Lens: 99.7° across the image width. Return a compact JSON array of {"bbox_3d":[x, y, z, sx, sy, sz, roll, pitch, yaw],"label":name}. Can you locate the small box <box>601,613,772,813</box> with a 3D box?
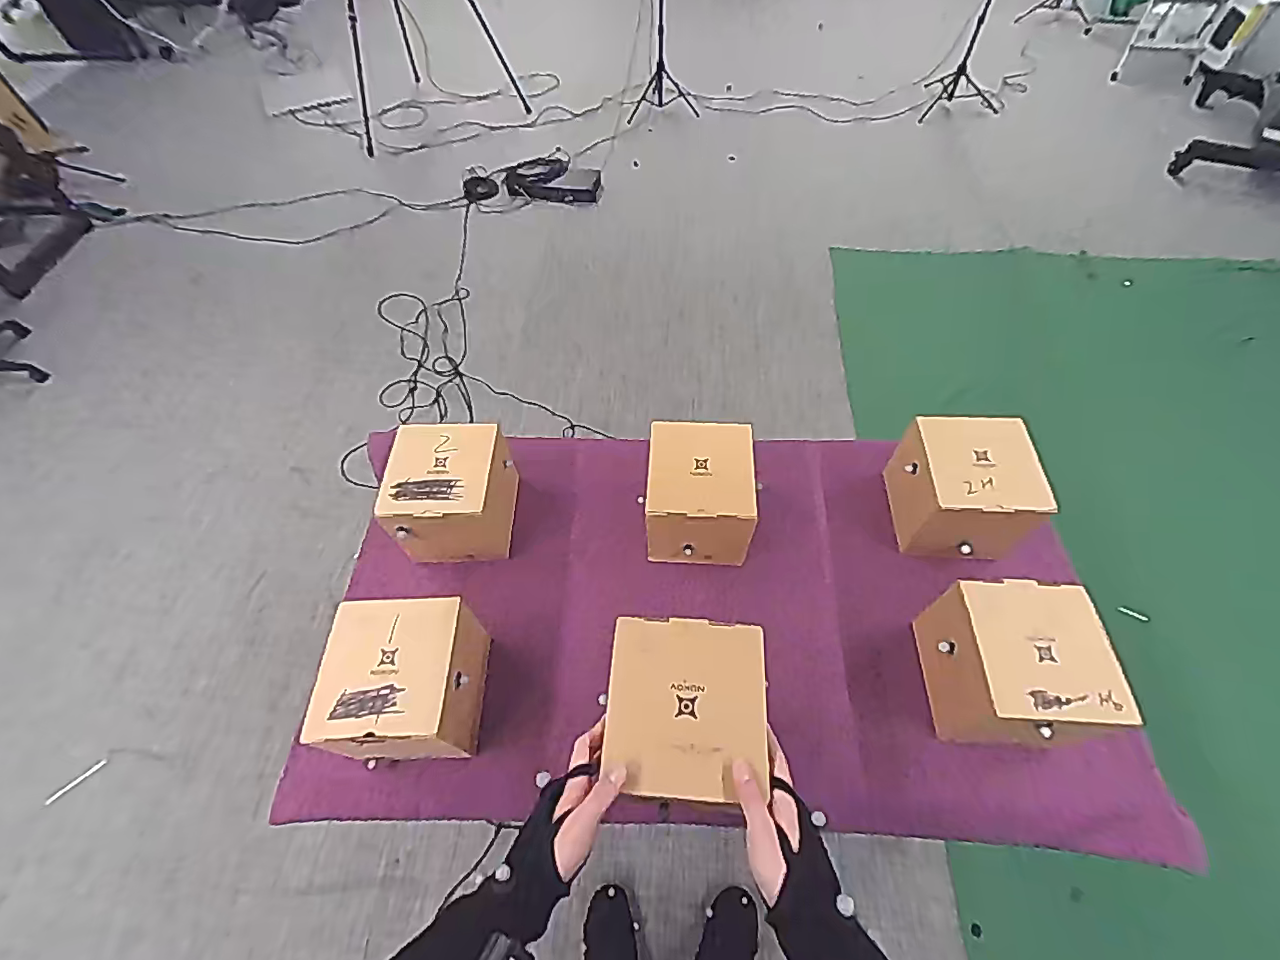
[{"bbox_3d":[0.052,0.271,0.622,0.168,0.176,0.179,3,57,4],"label":"small box"}]

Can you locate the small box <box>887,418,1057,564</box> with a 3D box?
[{"bbox_3d":[0.526,0.019,0.890,0.168,0.176,0.179,2,56,5],"label":"small box"}]

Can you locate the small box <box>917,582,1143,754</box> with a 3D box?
[{"bbox_3d":[0.504,0.258,0.737,0.168,0.176,0.179,2,55,4],"label":"small box"}]

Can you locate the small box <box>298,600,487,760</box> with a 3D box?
[{"bbox_3d":[-0.318,0.279,0.741,0.168,0.176,0.179,-2,55,0],"label":"small box"}]

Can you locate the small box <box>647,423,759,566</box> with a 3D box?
[{"bbox_3d":[0.098,0.027,0.902,0.168,0.176,0.179,2,58,2],"label":"small box"}]
